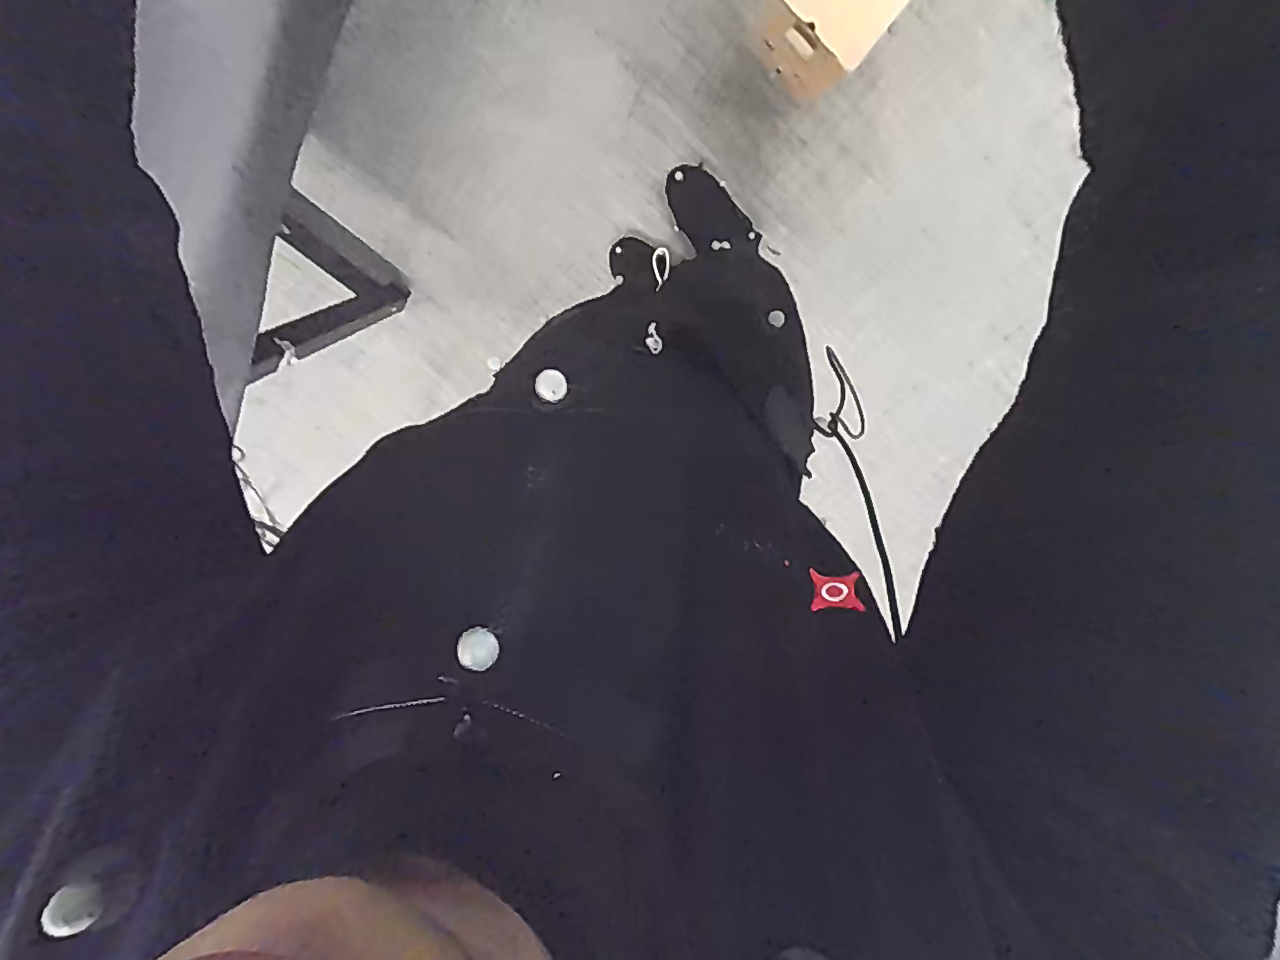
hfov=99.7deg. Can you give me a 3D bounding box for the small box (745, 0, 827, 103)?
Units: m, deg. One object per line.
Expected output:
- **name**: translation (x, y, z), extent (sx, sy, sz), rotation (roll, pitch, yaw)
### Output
- **small box**: translation (0.295, -0.773, 0.906), extent (0.168, 0.176, 0.179), rotation (38, 118, -13)

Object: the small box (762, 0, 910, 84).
- **small box**: translation (0.288, -0.702, 0.757), extent (0.168, 0.176, 0.179), rotation (36, 118, -13)
